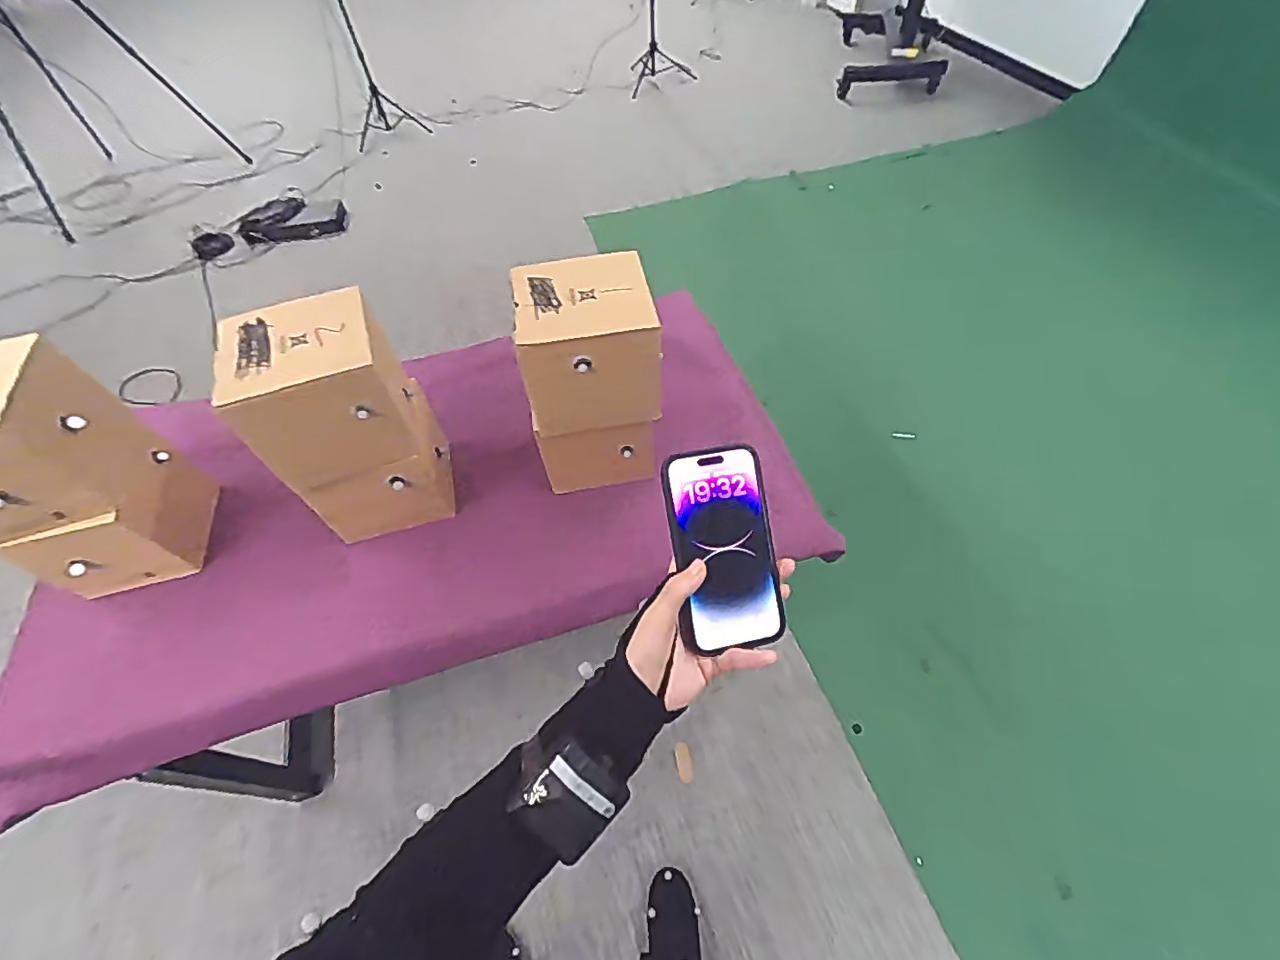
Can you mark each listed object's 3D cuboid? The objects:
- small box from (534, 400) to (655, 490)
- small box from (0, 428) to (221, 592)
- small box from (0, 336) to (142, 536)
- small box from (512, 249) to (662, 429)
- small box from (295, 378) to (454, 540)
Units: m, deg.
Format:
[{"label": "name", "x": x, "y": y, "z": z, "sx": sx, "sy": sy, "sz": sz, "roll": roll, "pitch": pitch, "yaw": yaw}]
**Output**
[{"label": "small box", "x": -0.073, "y": -0.104, "z": 0.889, "sx": 0.179, "sy": 0.176, "sz": 0.168, "roll": -10, "pitch": 54, "yaw": -3}, {"label": "small box", "x": -0.785, "y": 0.054, "z": 0.822, "sx": 0.168, "sy": 0.176, "sz": 0.179, "roll": -14, "pitch": 55, "yaw": -6}, {"label": "small box", "x": -0.796, "y": -0.047, "z": 0.693, "sx": 0.168, "sy": 0.176, "sz": 0.179, "roll": -18, "pitch": 56, "yaw": -10}, {"label": "small box", "x": -0.070, "y": -0.189, "z": 0.748, "sx": 0.179, "sy": 0.176, "sz": 0.168, "roll": -10, "pitch": 54, "yaw": -4}, {"label": "small box", "x": -0.404, "y": -0.029, "z": 0.855, "sx": 0.179, "sy": 0.176, "sz": 0.168, "roll": -15, "pitch": 55, "yaw": -7}]
